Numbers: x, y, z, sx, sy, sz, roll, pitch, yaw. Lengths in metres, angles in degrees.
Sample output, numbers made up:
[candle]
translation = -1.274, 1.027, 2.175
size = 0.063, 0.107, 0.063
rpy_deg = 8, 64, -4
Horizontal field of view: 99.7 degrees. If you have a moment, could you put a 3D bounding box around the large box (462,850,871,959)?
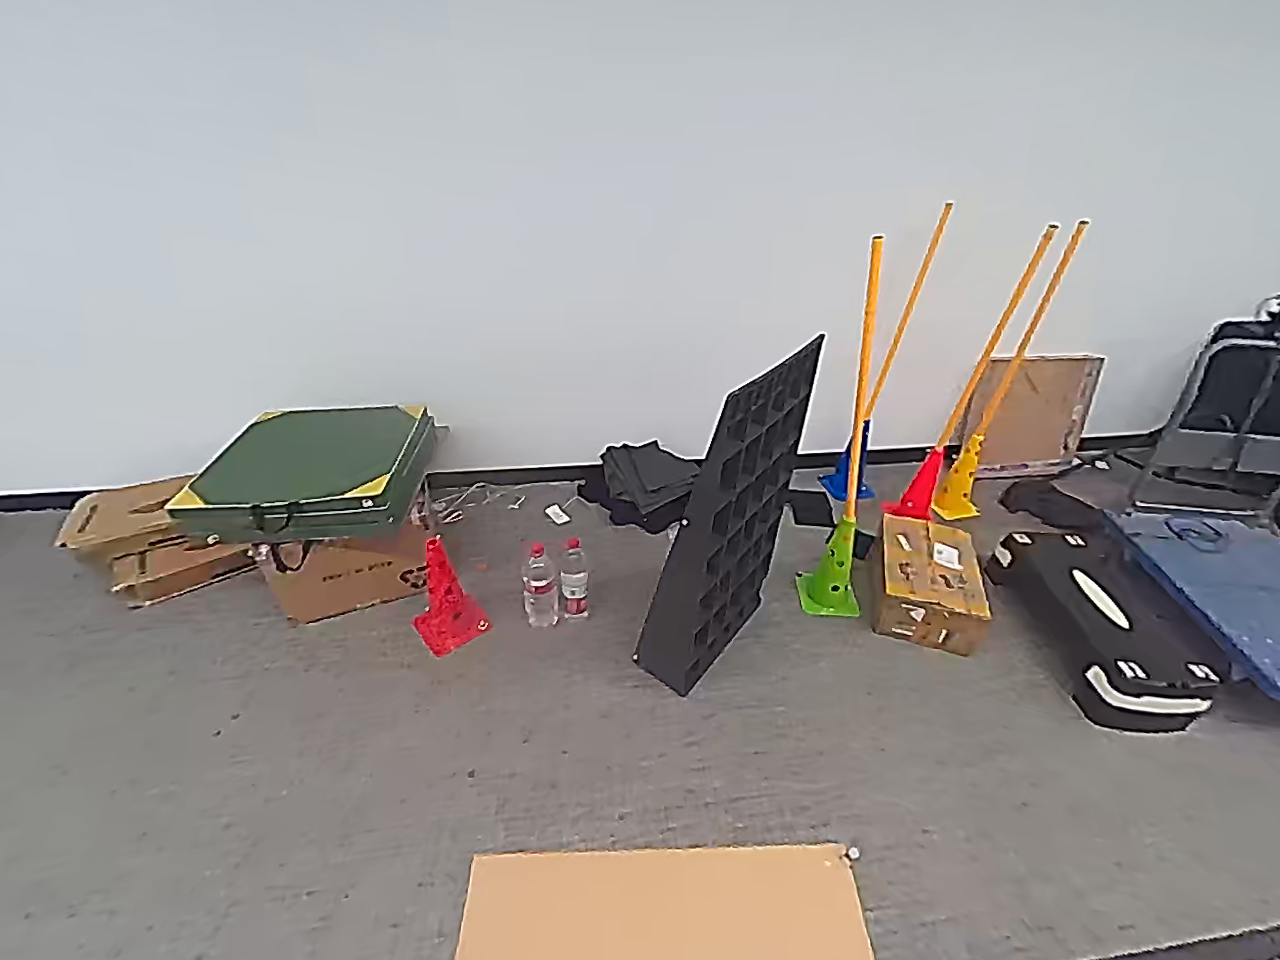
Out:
[large box]
translation = 0.028, 0.624, 0.568
size = 0.408, 0.320, 0.320
rpy_deg = -1, 42, -2
